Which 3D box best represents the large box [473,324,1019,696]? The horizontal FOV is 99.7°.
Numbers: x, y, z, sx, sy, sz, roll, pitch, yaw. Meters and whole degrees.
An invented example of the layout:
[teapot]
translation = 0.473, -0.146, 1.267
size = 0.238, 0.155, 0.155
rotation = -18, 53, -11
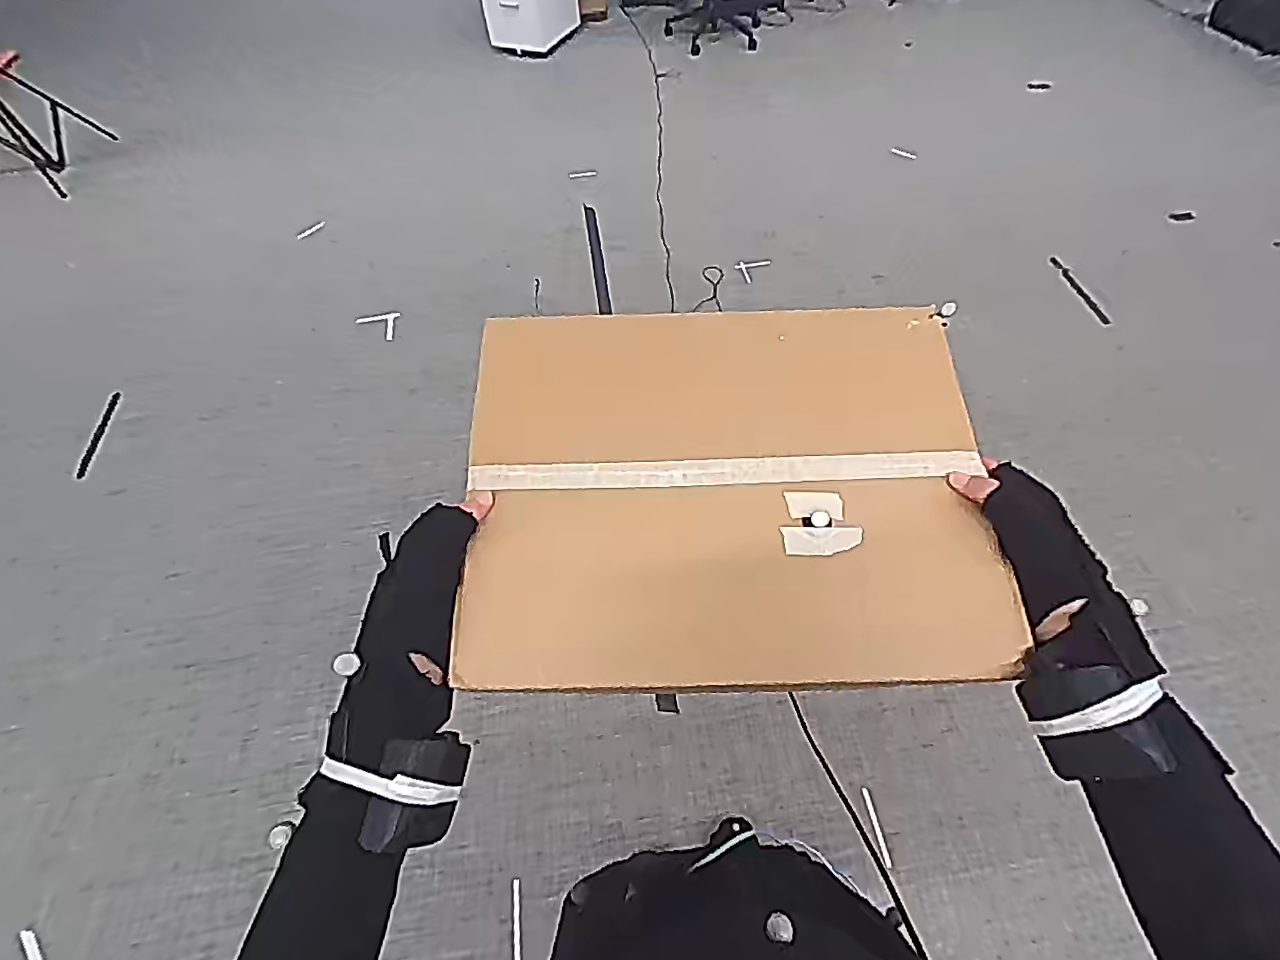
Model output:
[large box]
translation = 0.073, 0.059, 0.580
size = 0.408, 0.320, 0.320
rotation = -1, 69, 1
